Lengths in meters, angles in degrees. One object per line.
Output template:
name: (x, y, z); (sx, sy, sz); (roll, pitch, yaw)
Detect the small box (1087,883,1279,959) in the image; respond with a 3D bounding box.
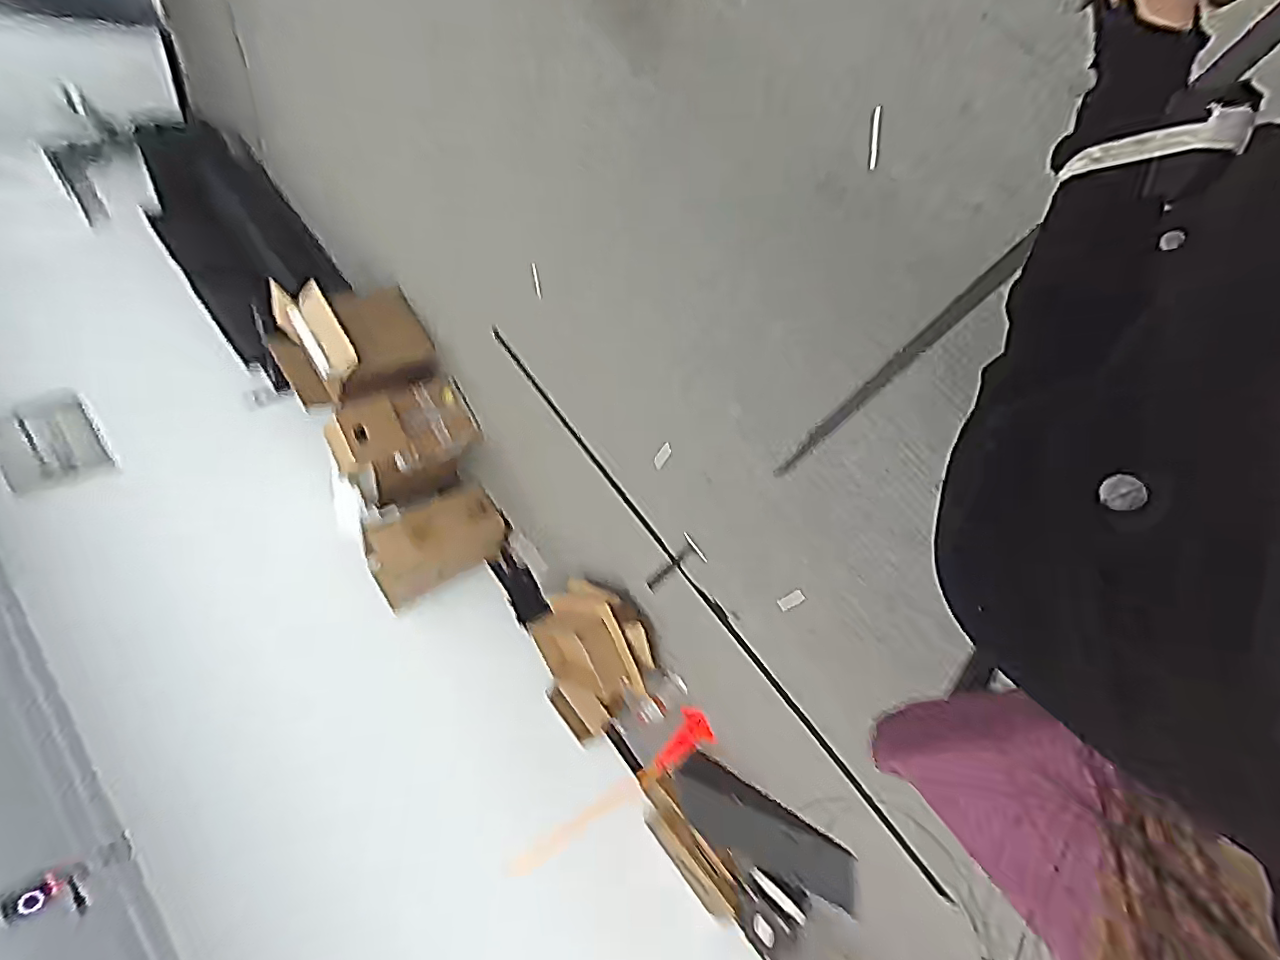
small box: (0.615, 0.574, 0.573); (0.179, 0.176, 0.168); (52, 142, 11)

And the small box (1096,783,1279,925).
small box: (0.726, 0.505, 0.671); (0.179, 0.176, 0.168); (51, 142, 11)
